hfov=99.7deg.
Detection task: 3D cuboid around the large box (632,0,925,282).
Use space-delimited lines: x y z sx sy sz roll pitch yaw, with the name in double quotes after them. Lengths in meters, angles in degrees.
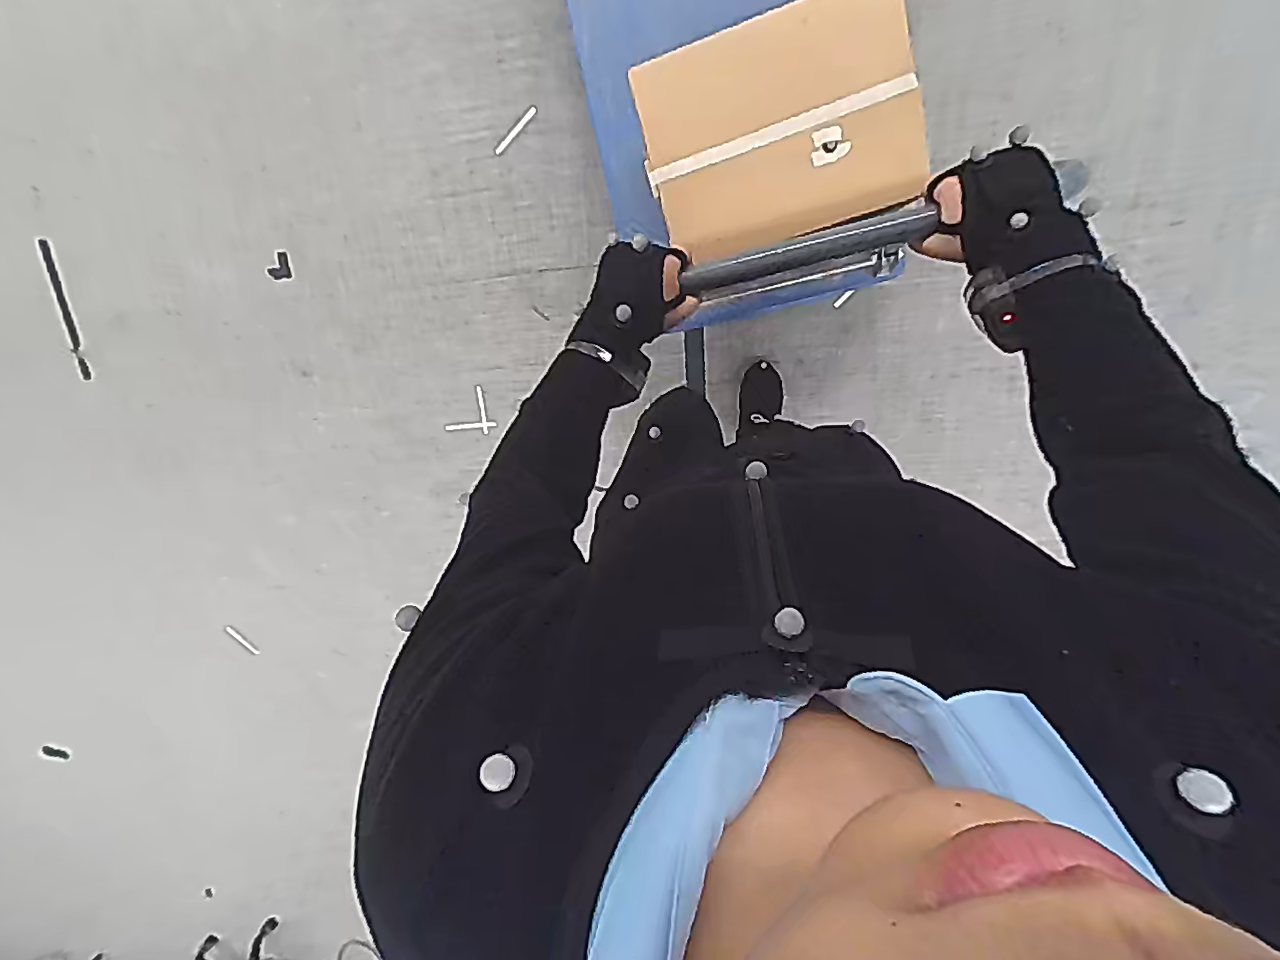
0.232 -0.589 0.990 0.408 0.320 0.320 -15 105 10 "large box"
